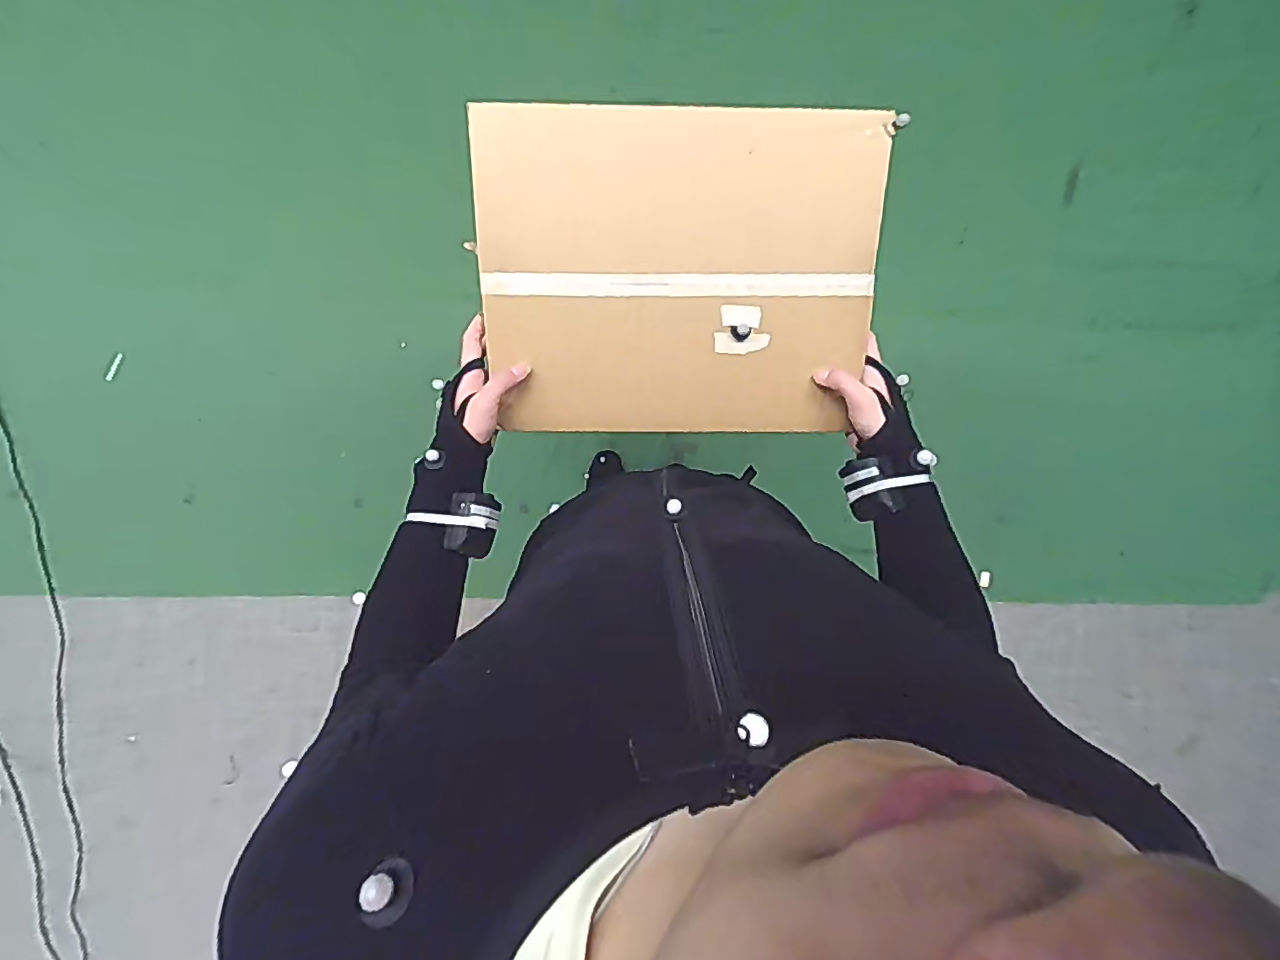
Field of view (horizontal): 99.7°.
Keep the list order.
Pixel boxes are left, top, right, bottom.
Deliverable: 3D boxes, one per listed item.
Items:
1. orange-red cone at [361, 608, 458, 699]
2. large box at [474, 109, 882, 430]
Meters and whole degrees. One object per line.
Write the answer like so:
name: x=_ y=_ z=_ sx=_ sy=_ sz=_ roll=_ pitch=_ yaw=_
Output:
orange-red cone: x=-0.661 y=0.505 z=1.476 sx=0.199 sy=0.360 sz=0.198 roll=8 pitch=92 yaw=-1
large box: x=0.034 y=-0.254 z=0.706 sx=0.408 sy=0.320 sz=0.320 roll=-1 pitch=109 yaw=-2
